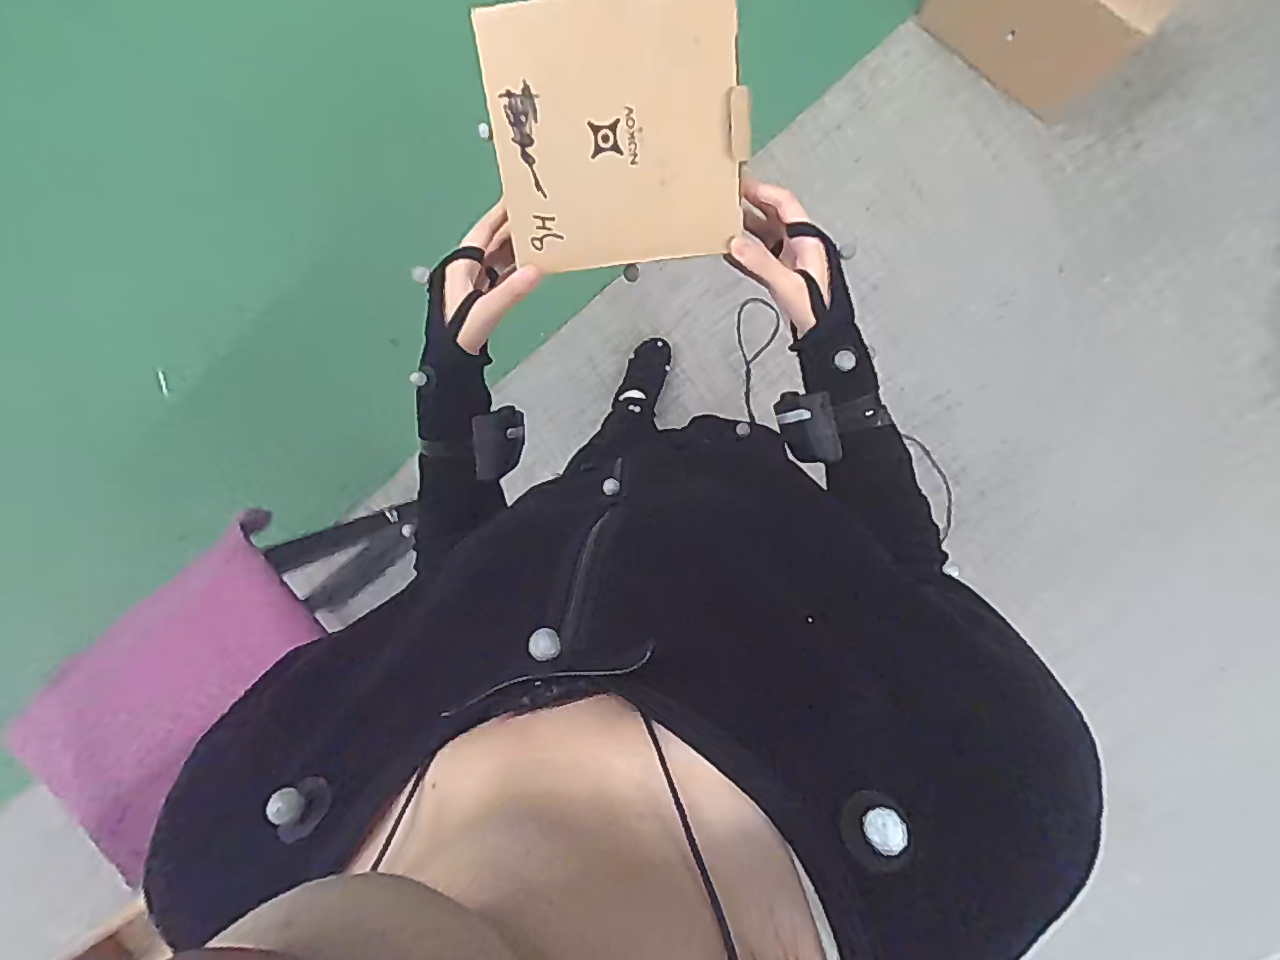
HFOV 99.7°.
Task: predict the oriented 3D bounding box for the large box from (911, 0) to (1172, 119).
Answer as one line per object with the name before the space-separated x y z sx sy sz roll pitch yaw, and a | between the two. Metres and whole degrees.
large box | 0.859 -1.053 1.099 0.408 0.320 0.320 38 100 3

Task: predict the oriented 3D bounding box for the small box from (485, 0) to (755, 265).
small box | -0.012 -0.273 0.446 0.179 0.176 0.168 -5 112 -1
